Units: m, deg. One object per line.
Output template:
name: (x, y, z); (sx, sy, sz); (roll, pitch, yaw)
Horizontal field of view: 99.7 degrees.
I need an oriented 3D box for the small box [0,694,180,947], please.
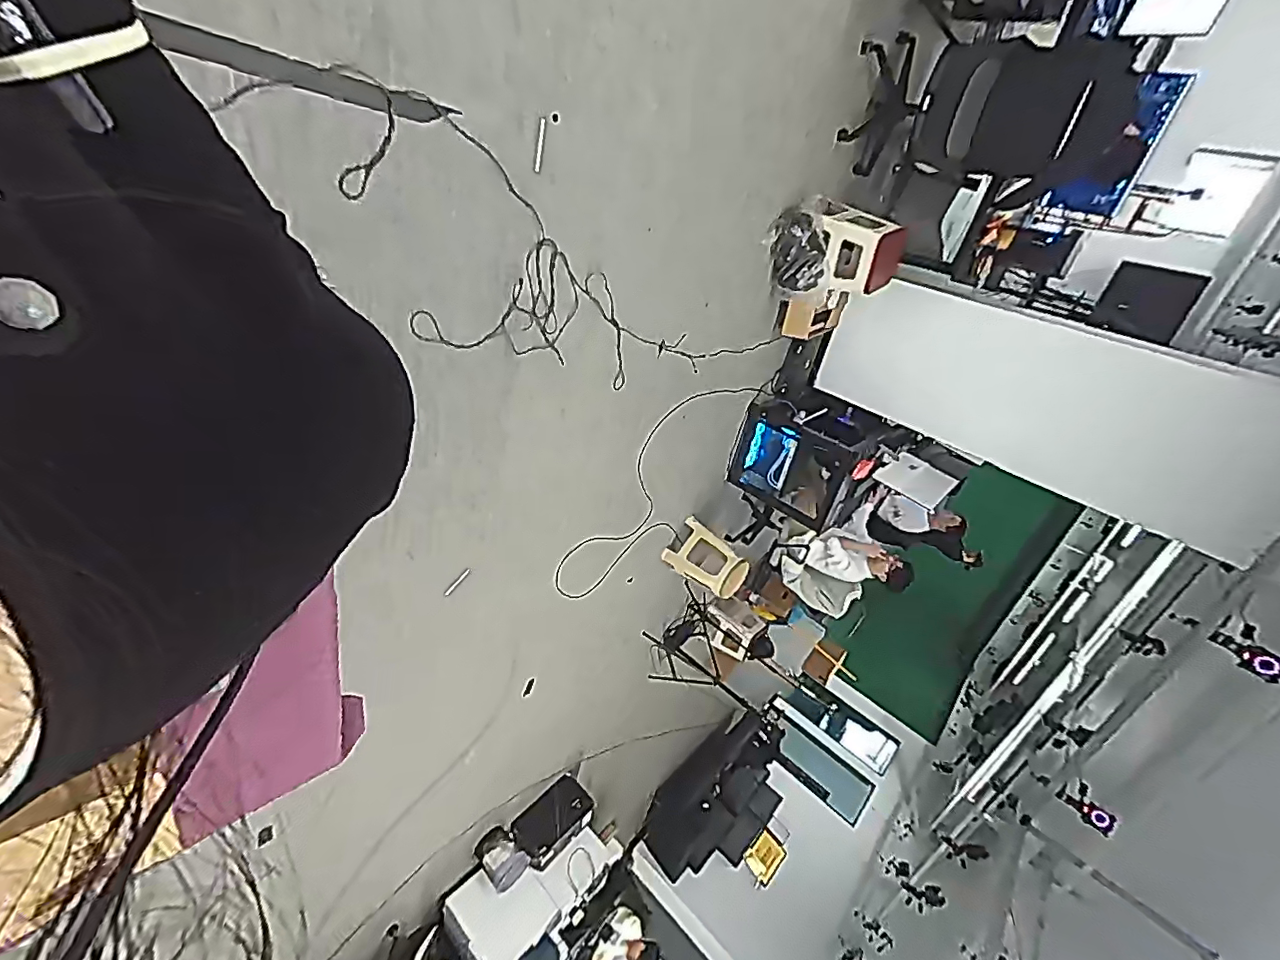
small box: (-0.718, 0.415, 0.687); (0.168, 0.176, 0.179); (-17, 130, -47)
